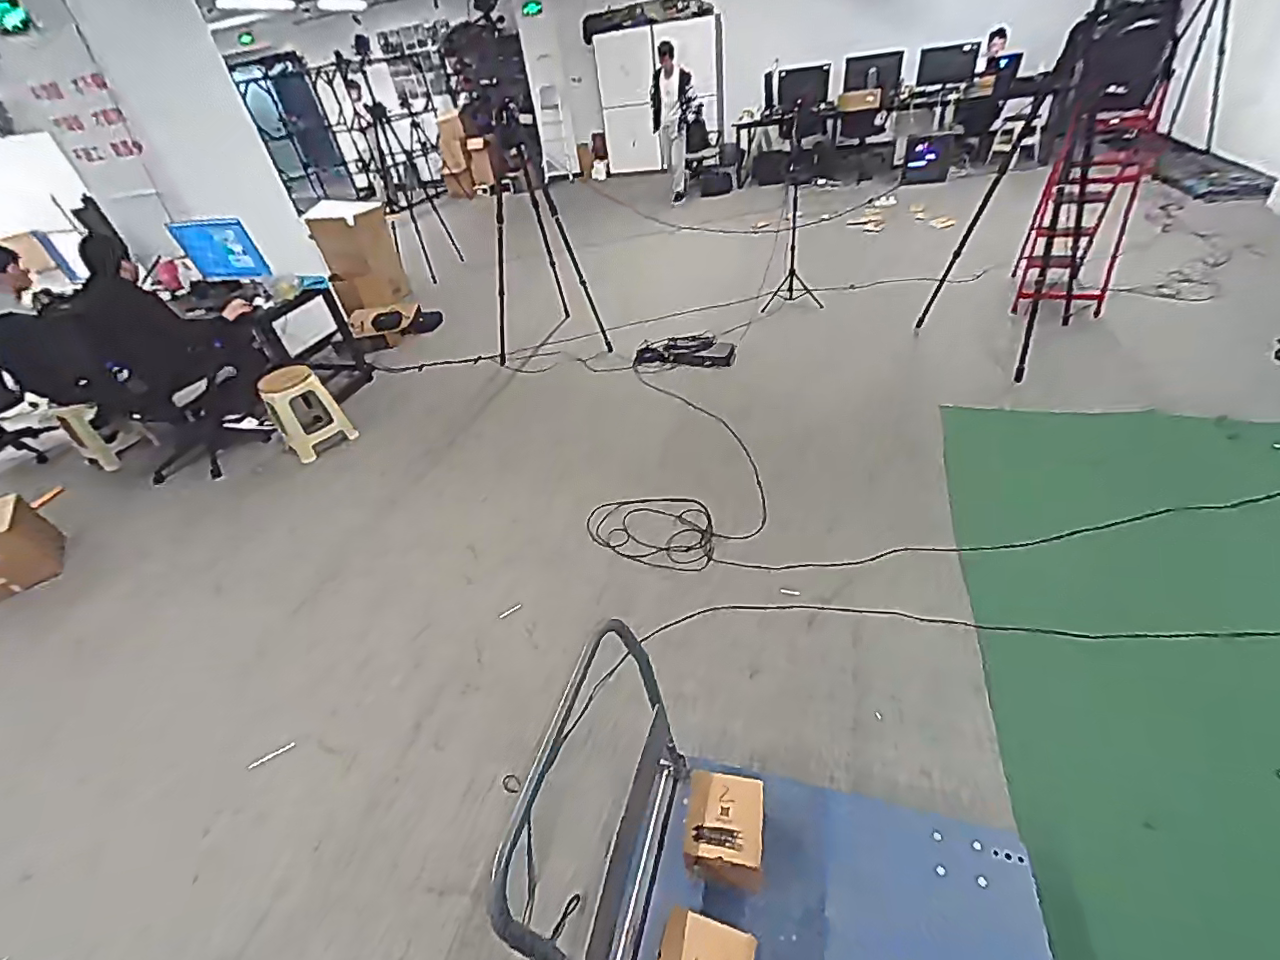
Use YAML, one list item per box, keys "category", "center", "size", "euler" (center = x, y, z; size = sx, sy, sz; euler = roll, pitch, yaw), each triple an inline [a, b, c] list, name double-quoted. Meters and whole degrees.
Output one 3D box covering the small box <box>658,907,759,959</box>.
- category: "small box"
  center: [0.128, 0.974, 1.043]
  size: [0.179, 0.176, 0.168]
  euler: [7, 42, 19]
